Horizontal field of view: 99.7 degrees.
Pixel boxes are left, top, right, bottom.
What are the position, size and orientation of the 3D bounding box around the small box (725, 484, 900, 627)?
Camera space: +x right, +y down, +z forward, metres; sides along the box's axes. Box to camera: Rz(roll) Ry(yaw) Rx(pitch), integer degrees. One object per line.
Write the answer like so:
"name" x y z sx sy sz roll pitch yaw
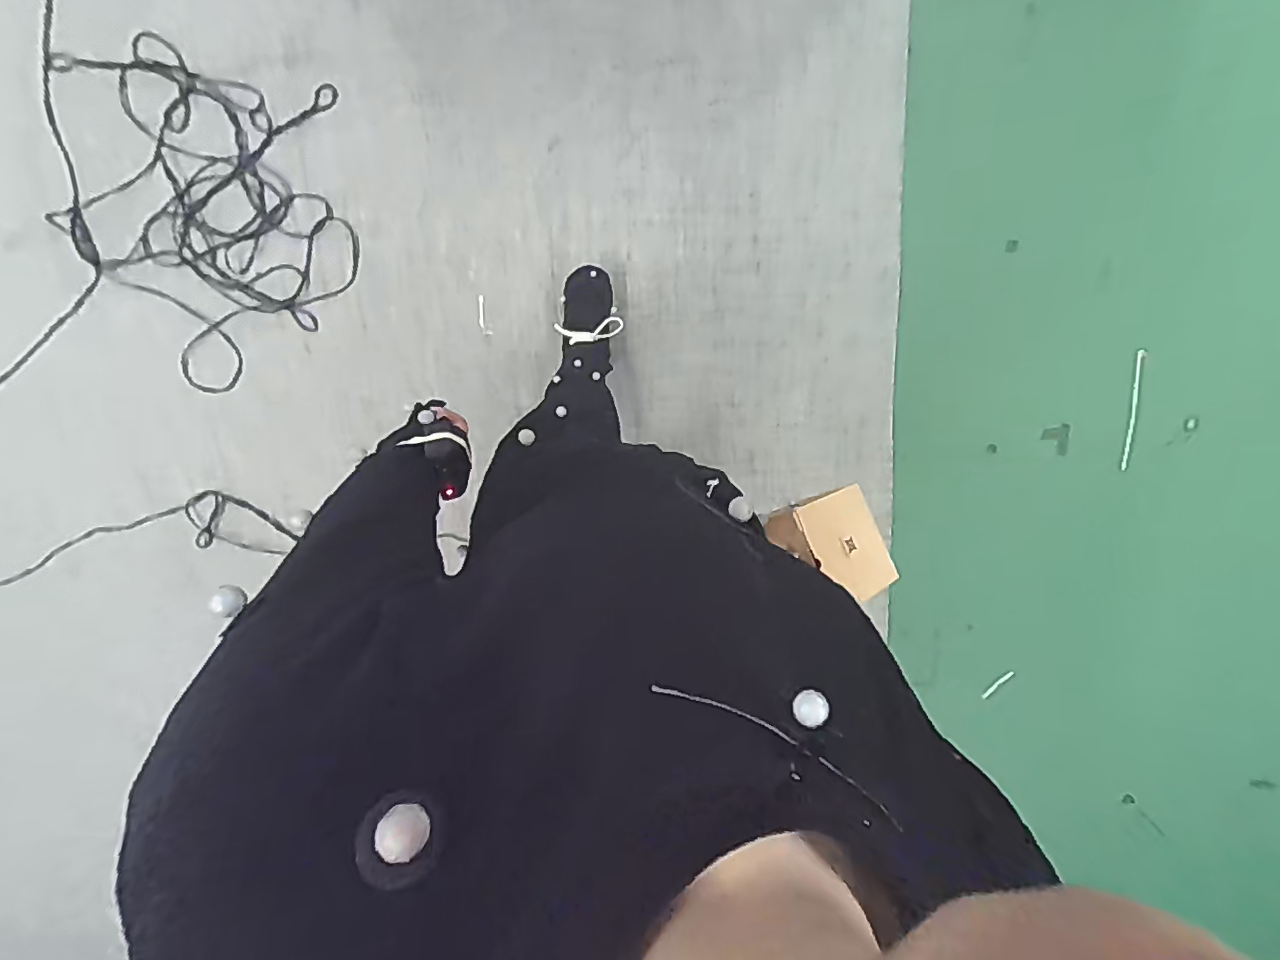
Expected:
"small box" 0.268 0.121 0.859 0.179 0.176 0.168 -17 83 -37
